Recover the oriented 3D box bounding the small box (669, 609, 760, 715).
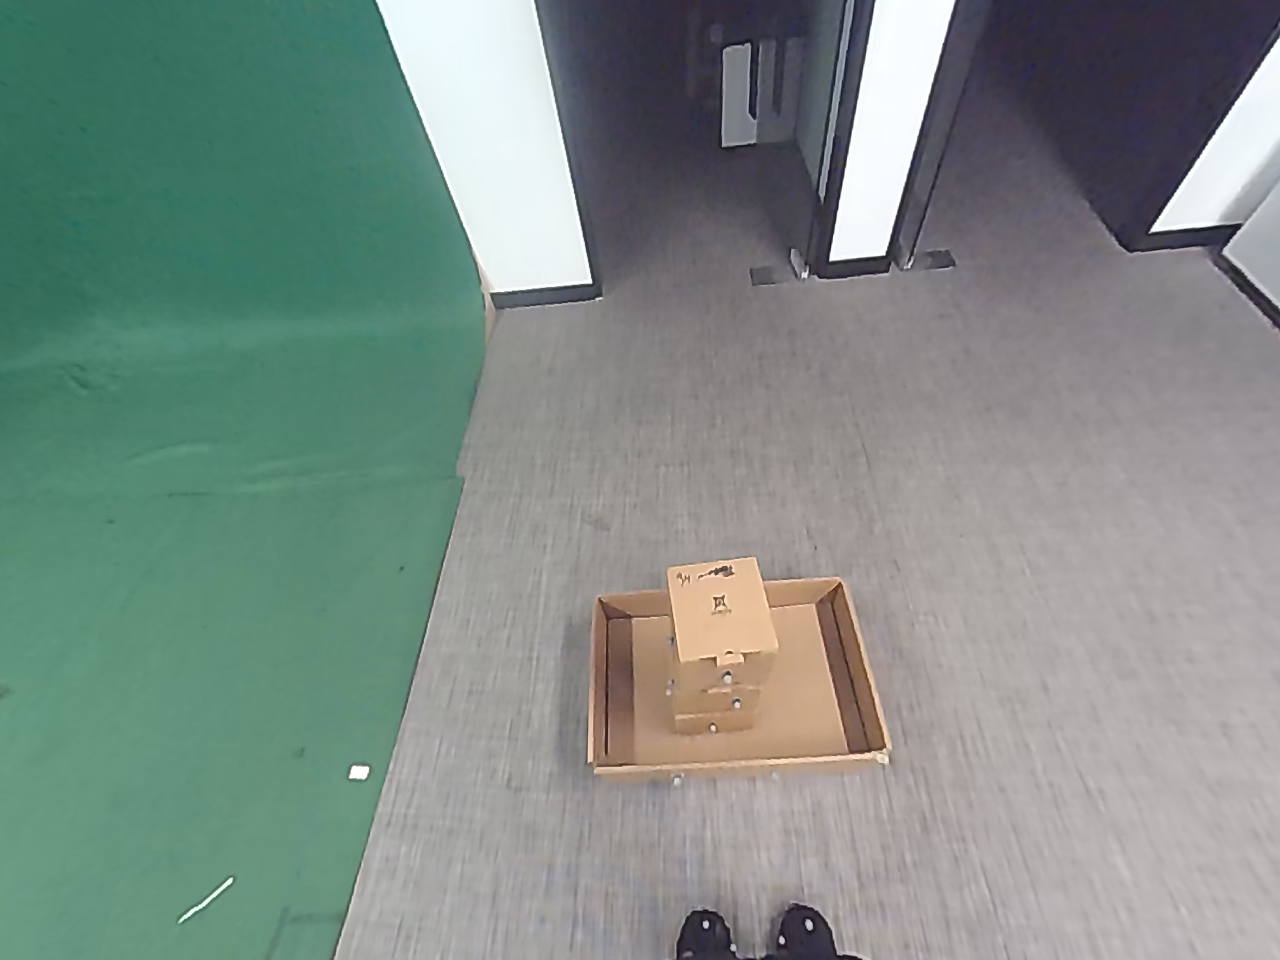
[{"bbox_3d":[0.148,0.376,1.116,0.168,0.176,0.179,-3,51,2],"label":"small box"}]

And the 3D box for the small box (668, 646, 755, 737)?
[{"bbox_3d":[0.160,0.480,1.238,0.179,0.176,0.168,-6,52,4],"label":"small box"}]

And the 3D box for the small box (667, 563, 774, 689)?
[{"bbox_3d":[0.141,0.273,0.989,0.168,0.176,0.179,-5,53,1],"label":"small box"}]
